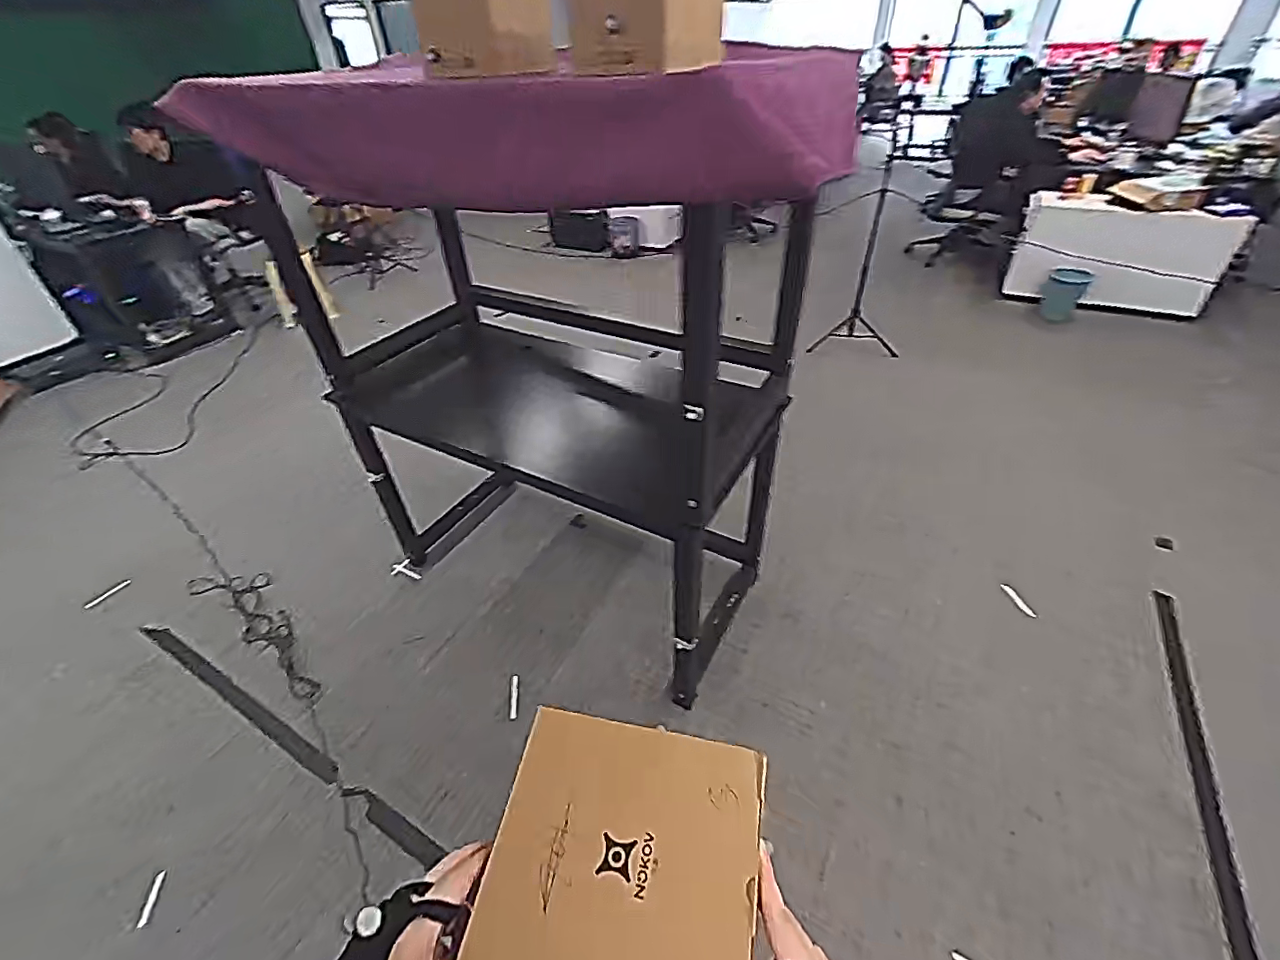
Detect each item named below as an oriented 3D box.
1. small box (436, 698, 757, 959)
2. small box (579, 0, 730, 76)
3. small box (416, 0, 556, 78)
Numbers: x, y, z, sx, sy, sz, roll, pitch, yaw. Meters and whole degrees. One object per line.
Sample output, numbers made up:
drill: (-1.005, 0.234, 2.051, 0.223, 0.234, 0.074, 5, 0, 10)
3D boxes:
small box: (-0.014, 0.289, 0.405, 0.179, 0.176, 0.168, 6, 49, 12)
small box: (0.020, -0.687, 0.771, 0.168, 0.176, 0.179, 21, 44, 27)
small box: (-0.257, -0.792, 0.919, 0.168, 0.176, 0.179, 15, 42, 20)
